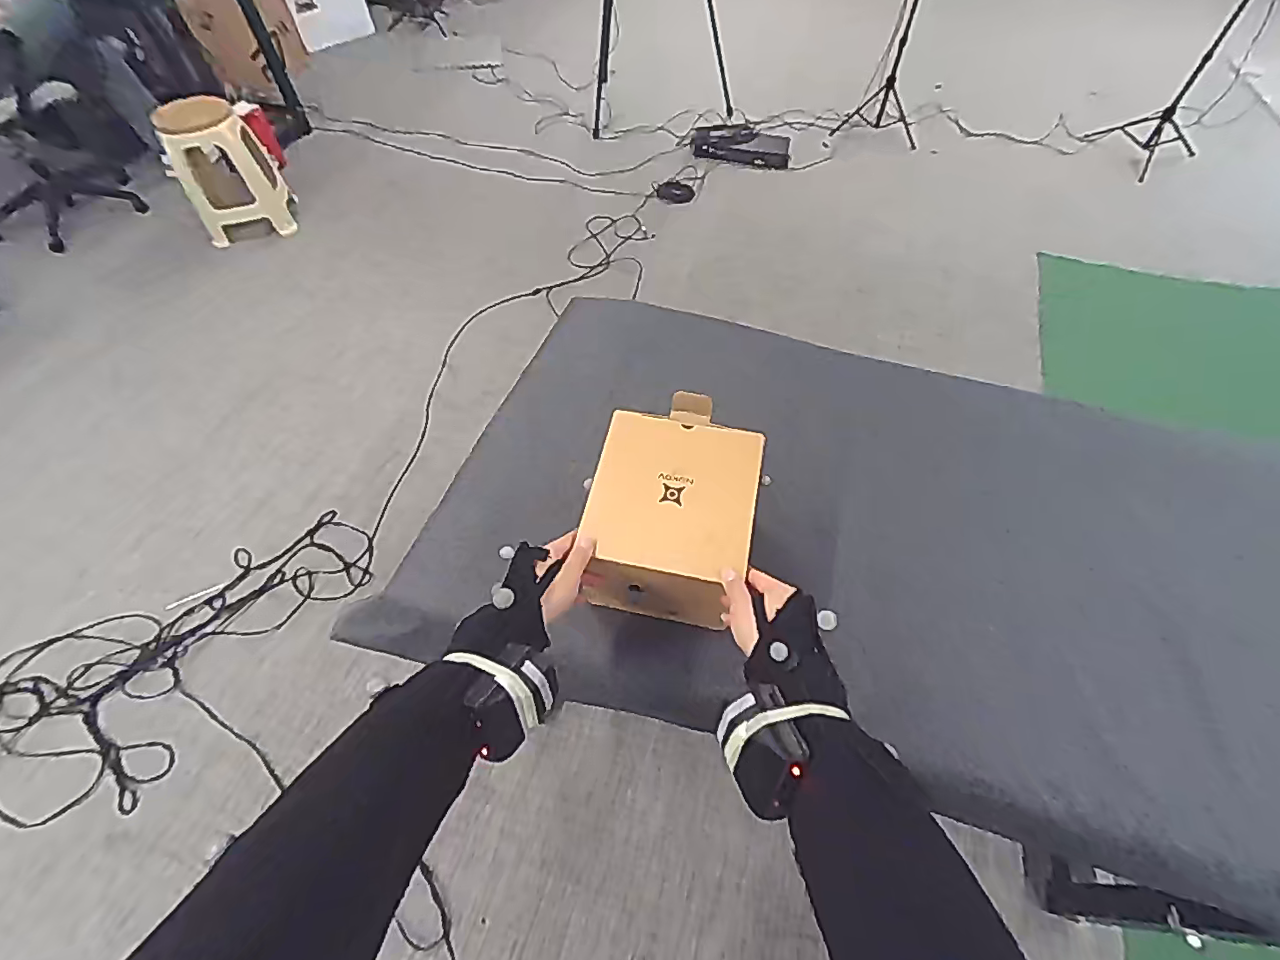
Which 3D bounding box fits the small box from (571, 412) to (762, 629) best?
[{"bbox_3d":[0.033,0.053,0.609,0.168,0.176,0.179,10,60,7],"label":"small box"}]
